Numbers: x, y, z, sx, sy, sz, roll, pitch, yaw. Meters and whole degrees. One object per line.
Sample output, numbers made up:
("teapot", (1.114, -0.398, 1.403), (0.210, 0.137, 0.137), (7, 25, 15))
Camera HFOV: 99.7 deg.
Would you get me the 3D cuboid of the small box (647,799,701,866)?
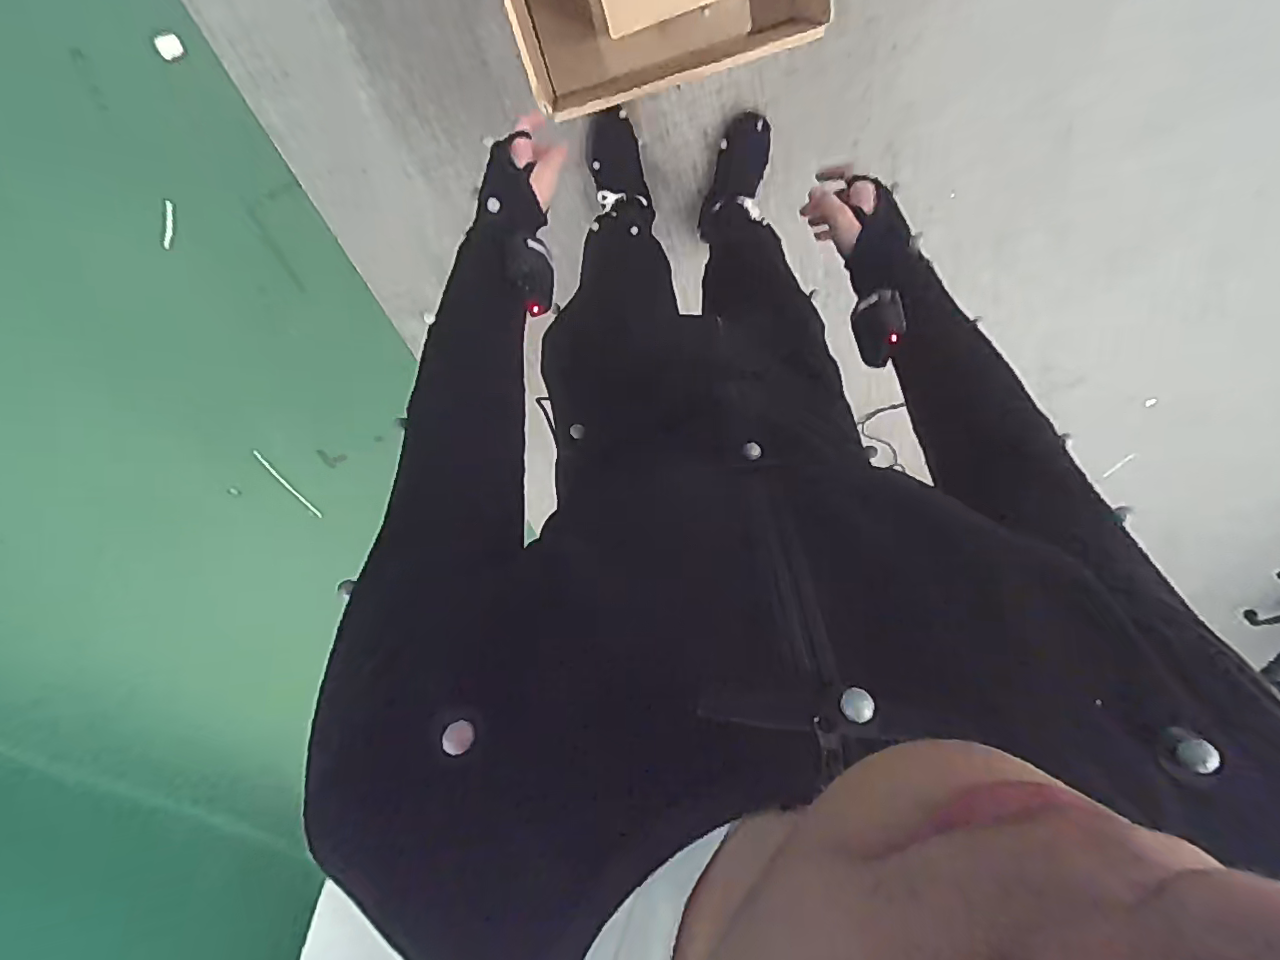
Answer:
("small box", (0.127, 1.338, 2.055), (0.168, 0.176, 0.179), (-14, 131, 5))
